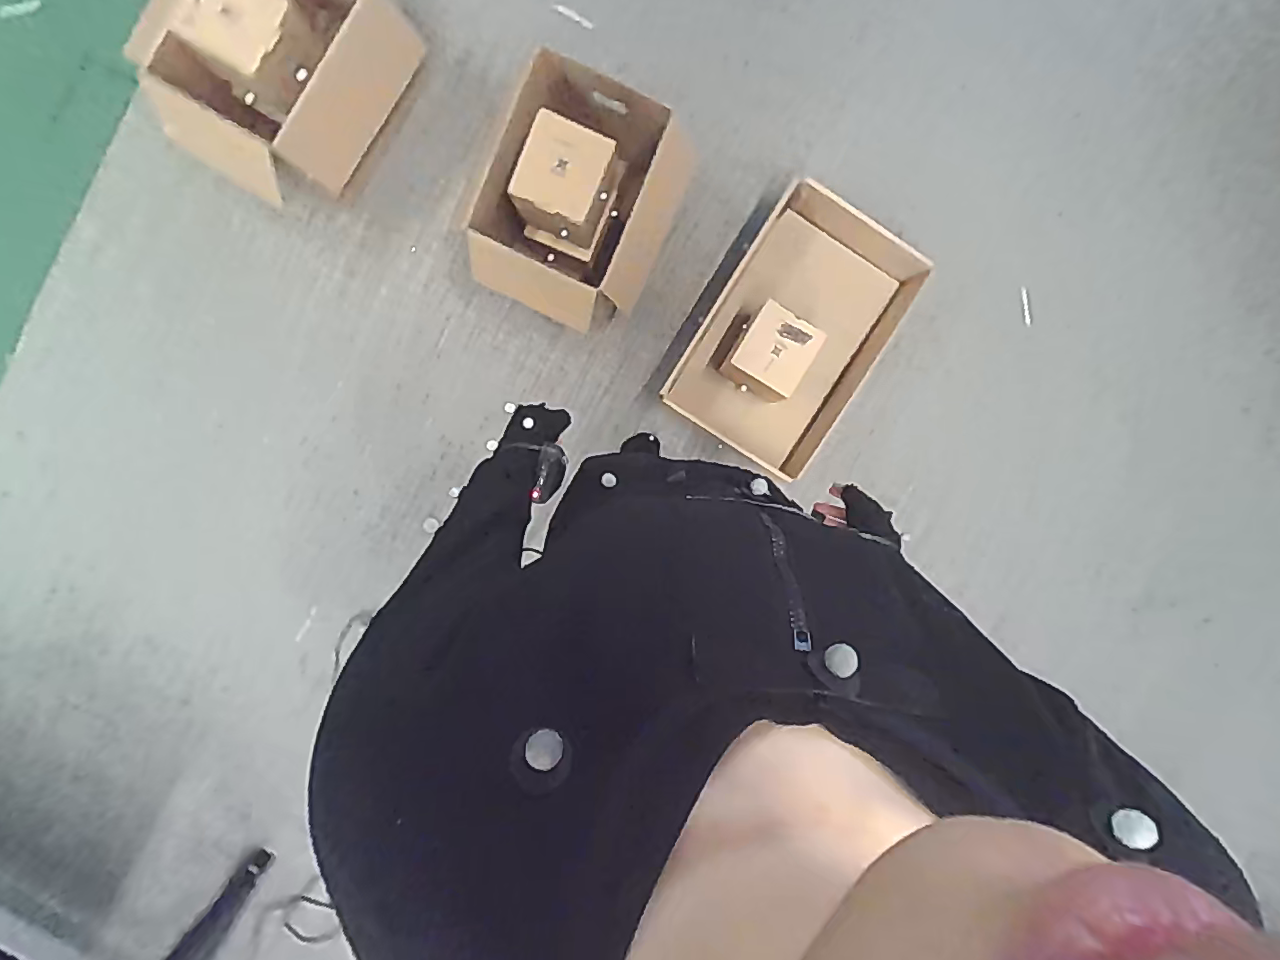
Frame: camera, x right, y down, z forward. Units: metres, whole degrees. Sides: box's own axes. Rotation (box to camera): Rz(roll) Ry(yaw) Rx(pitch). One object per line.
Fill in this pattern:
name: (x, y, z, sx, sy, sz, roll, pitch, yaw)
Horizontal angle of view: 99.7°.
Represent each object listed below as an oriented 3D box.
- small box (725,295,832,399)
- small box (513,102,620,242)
small box: (0.326, -0.314, 1.317, 0.168, 0.176, 0.179, 31, 93, -3)
small box: (-0.146, -0.640, 1.152, 0.168, 0.176, 0.179, 24, 95, -3)
